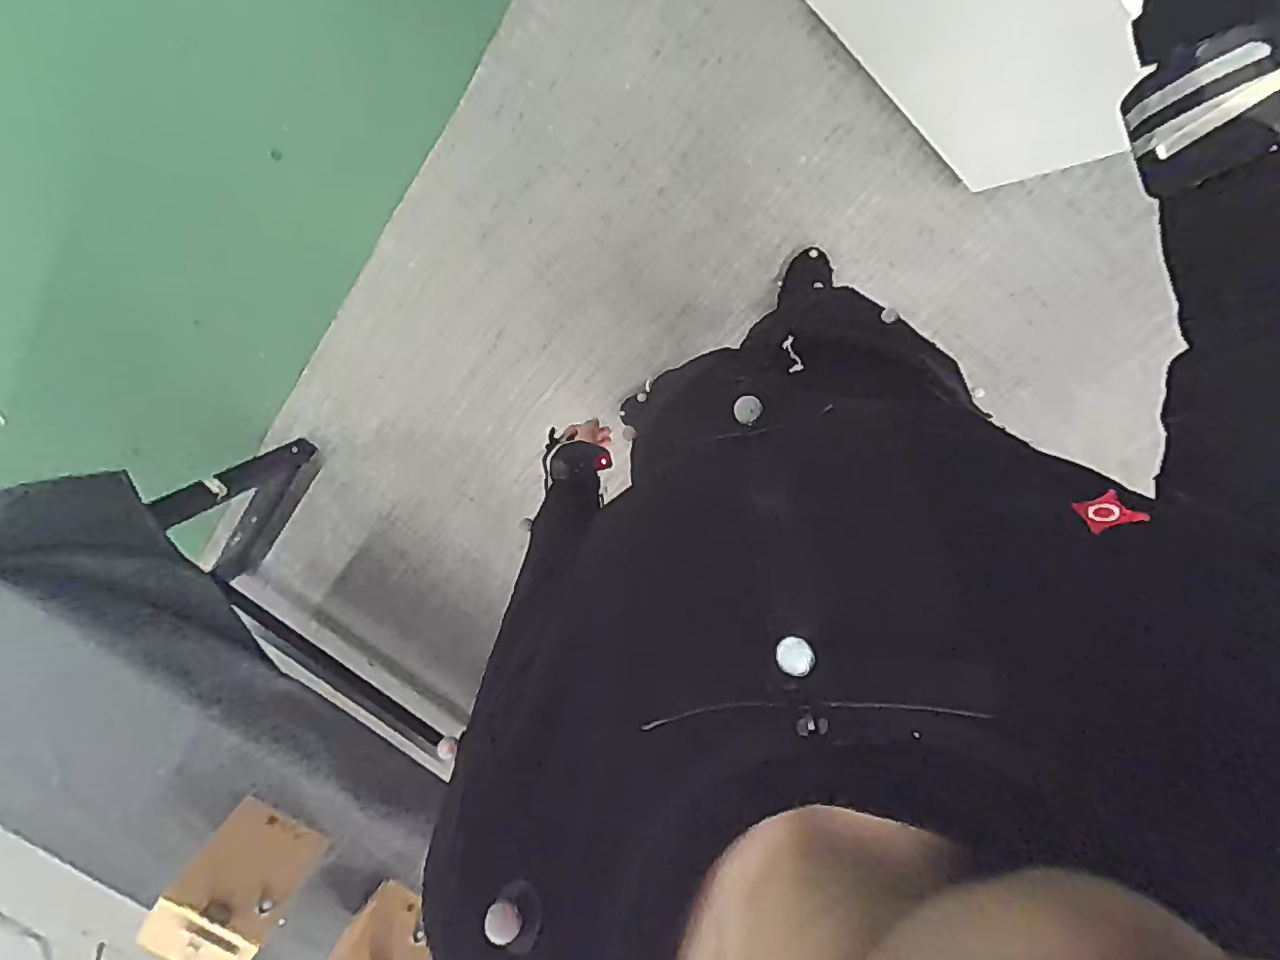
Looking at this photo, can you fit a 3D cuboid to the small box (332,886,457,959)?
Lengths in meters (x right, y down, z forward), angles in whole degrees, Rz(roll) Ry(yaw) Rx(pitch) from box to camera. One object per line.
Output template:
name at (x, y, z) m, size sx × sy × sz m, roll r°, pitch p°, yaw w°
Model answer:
small box at (-0.449, 0.864, 0.939) m, size 0.168 × 0.176 × 0.179 m, roll 35°, pitch 111°, yaw -6°
